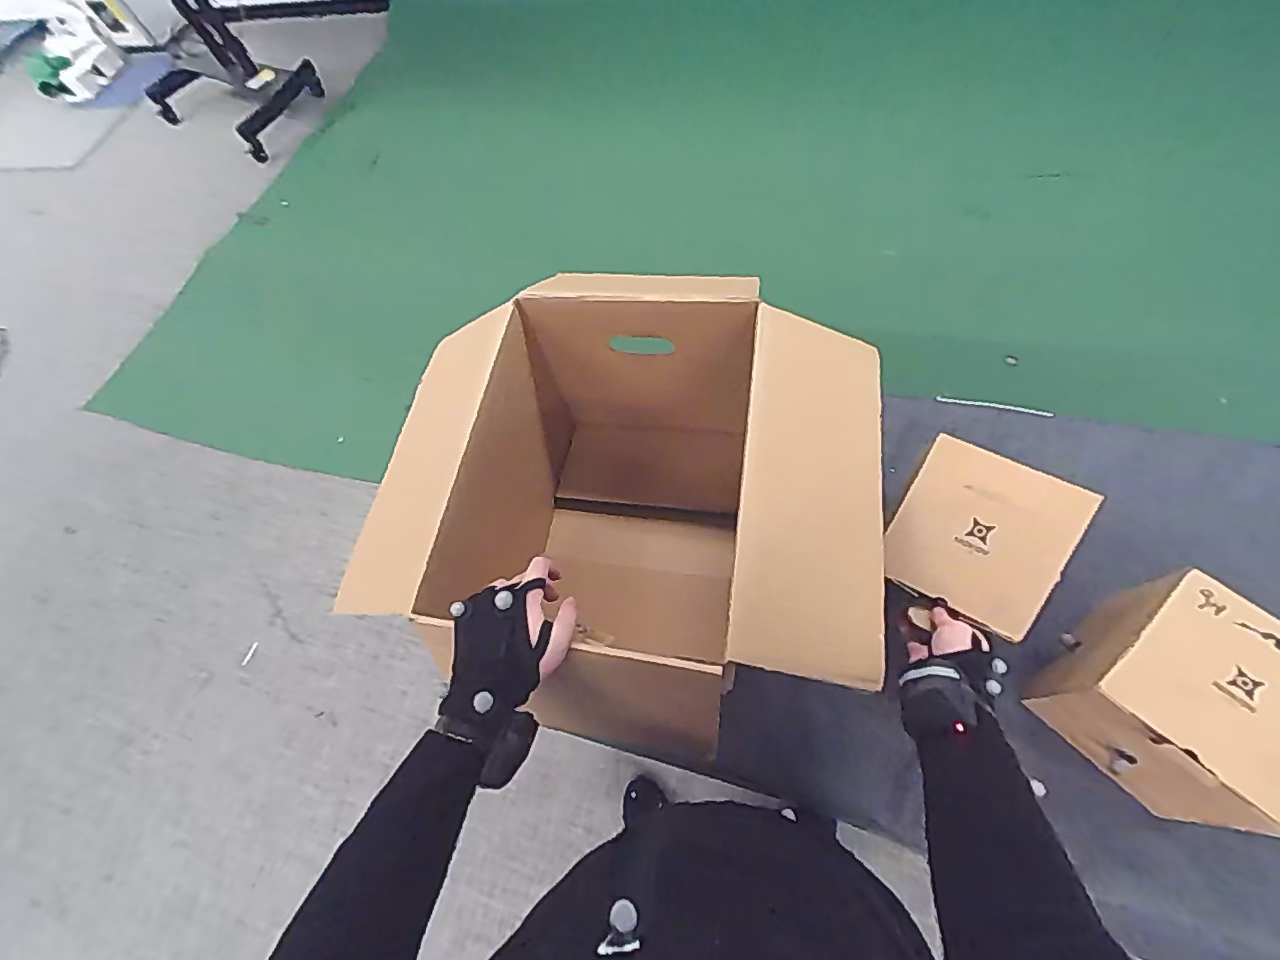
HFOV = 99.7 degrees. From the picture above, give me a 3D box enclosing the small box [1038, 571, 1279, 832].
[{"bbox_3d":[0.577,0.233,0.581,0.179,0.176,0.168,-41,64,-9],"label":"small box"}]
